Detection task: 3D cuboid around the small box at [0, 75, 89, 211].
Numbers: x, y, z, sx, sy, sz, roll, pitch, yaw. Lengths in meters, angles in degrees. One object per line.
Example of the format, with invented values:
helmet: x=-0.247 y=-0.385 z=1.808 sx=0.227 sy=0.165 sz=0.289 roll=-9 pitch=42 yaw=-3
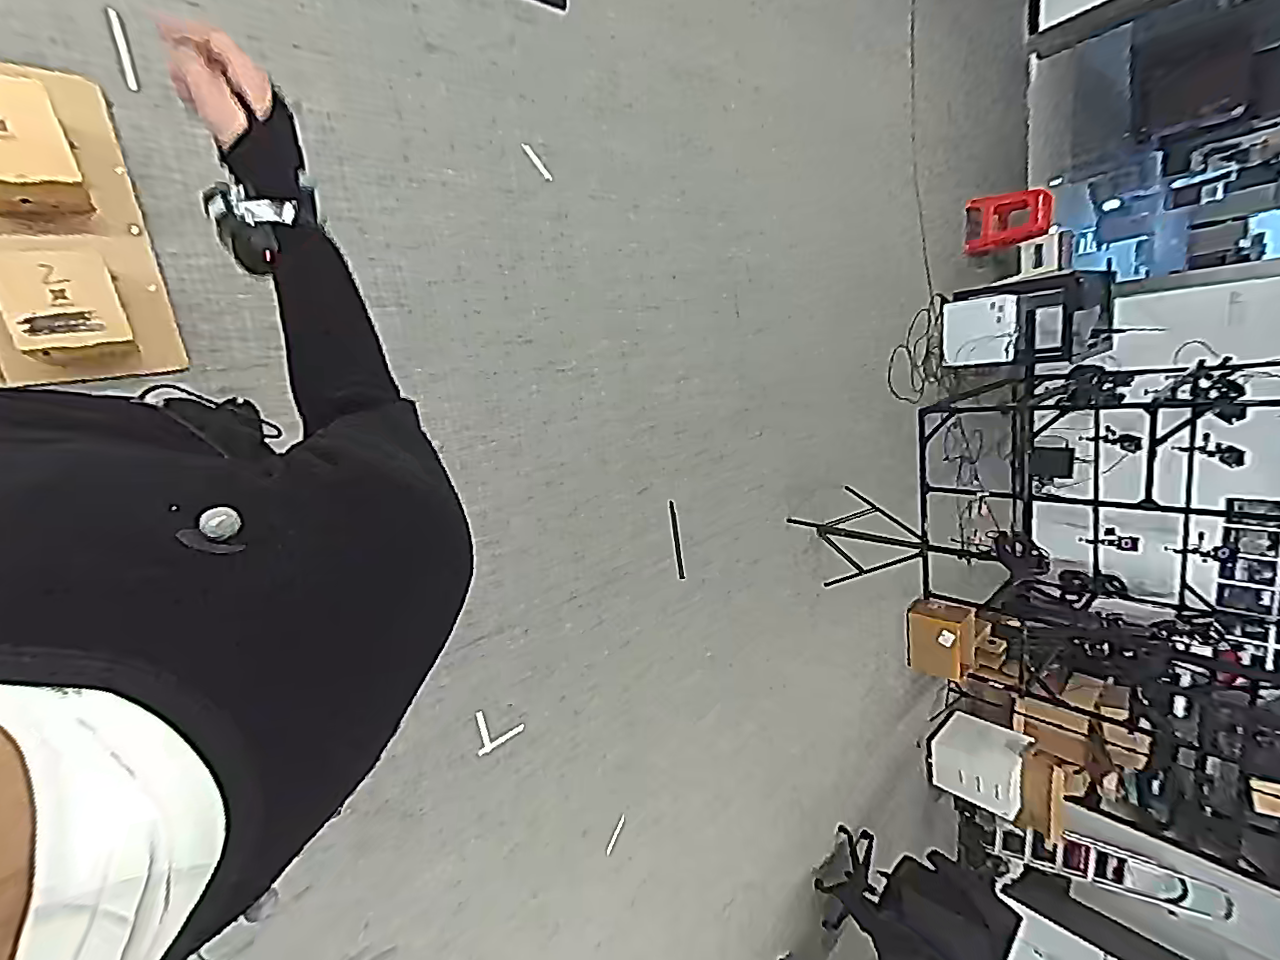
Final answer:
small box: x=-1.183 y=-0.623 z=1.010 sx=0.168 sy=0.176 sz=0.179 roll=-23 pitch=109 yaw=-36
